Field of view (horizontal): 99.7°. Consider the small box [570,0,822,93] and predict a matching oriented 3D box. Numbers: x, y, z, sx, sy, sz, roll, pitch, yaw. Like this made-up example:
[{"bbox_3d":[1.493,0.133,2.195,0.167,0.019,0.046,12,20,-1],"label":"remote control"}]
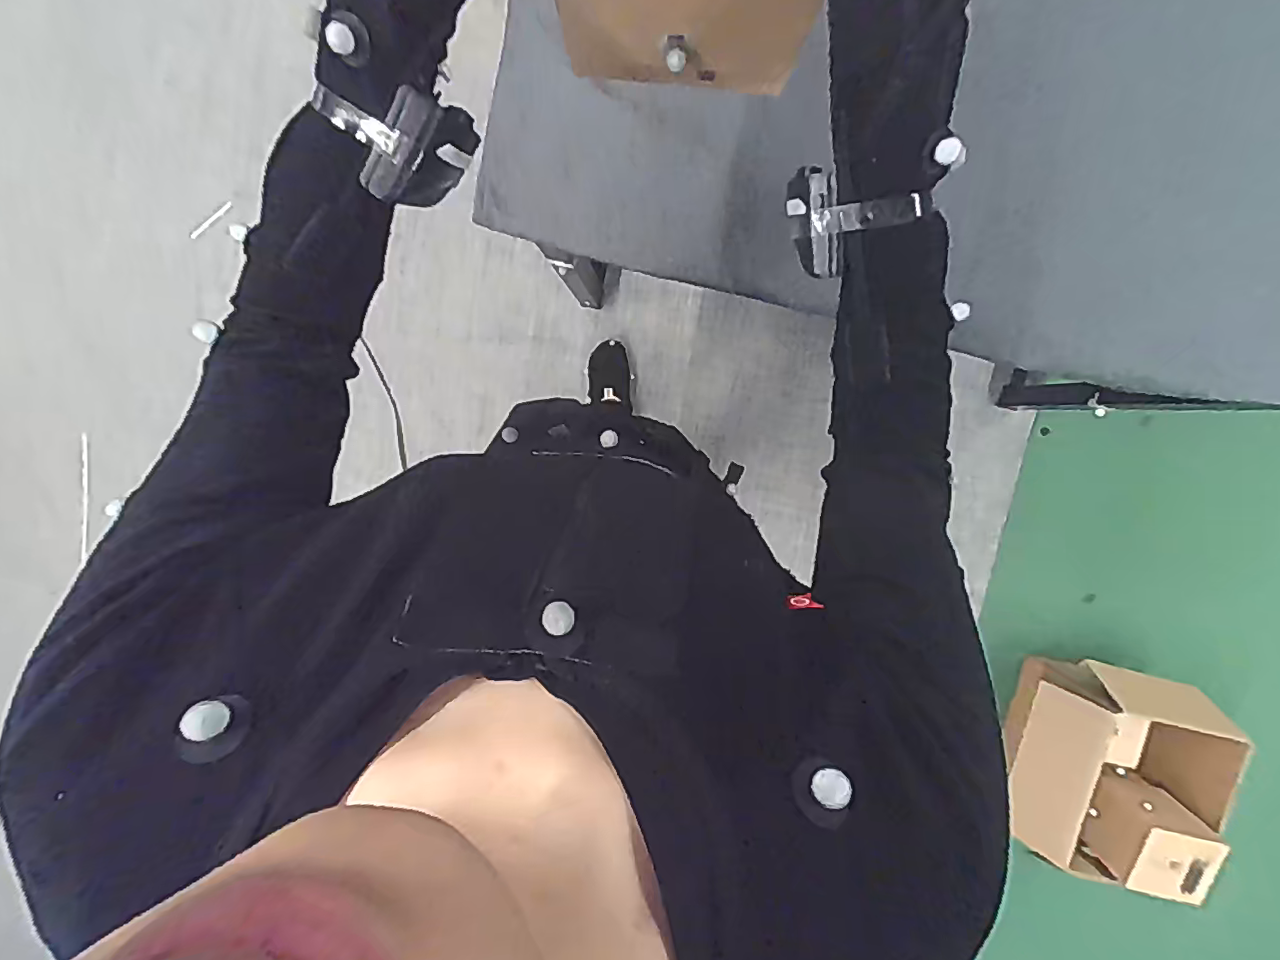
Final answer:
[{"bbox_3d":[0.038,-0.386,0.335,0.168,0.176,0.179,6,101,0],"label":"small box"}]
